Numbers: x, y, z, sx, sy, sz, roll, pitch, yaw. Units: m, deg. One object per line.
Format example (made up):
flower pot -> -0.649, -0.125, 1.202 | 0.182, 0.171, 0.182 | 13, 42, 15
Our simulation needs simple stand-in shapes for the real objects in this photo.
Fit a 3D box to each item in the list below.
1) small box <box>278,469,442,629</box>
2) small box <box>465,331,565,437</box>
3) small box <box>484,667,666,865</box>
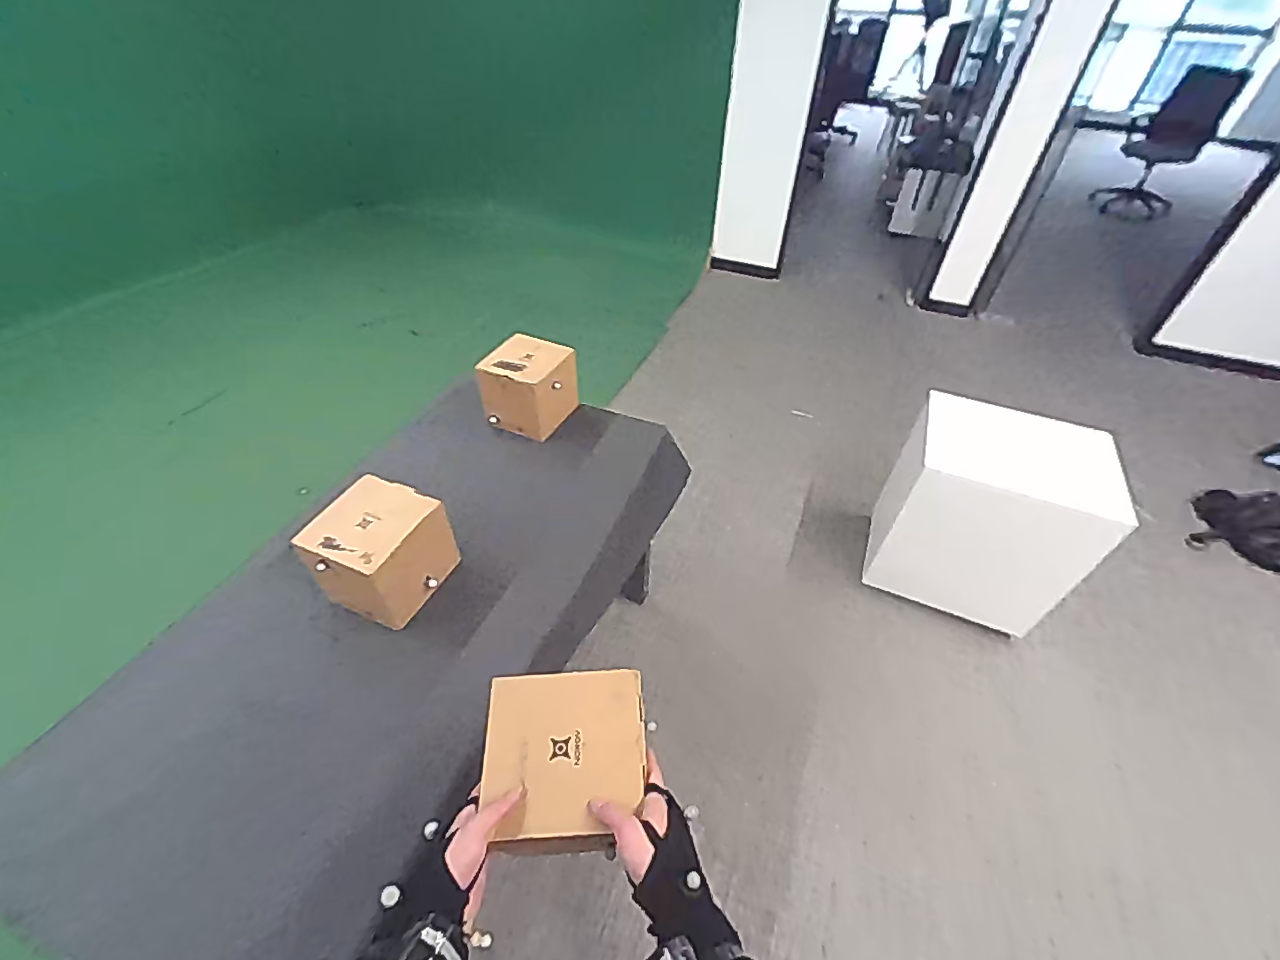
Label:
small box -> -0.460, 0.117, 0.924 | 0.168, 0.176, 0.179 | 19, 44, 13
small box -> -0.290, -0.229, 1.301 | 0.168, 0.176, 0.179 | 20, 45, 14
small box -> -0.068, 0.334, 0.628 | 0.179, 0.176, 0.168 | -4, 49, -3
